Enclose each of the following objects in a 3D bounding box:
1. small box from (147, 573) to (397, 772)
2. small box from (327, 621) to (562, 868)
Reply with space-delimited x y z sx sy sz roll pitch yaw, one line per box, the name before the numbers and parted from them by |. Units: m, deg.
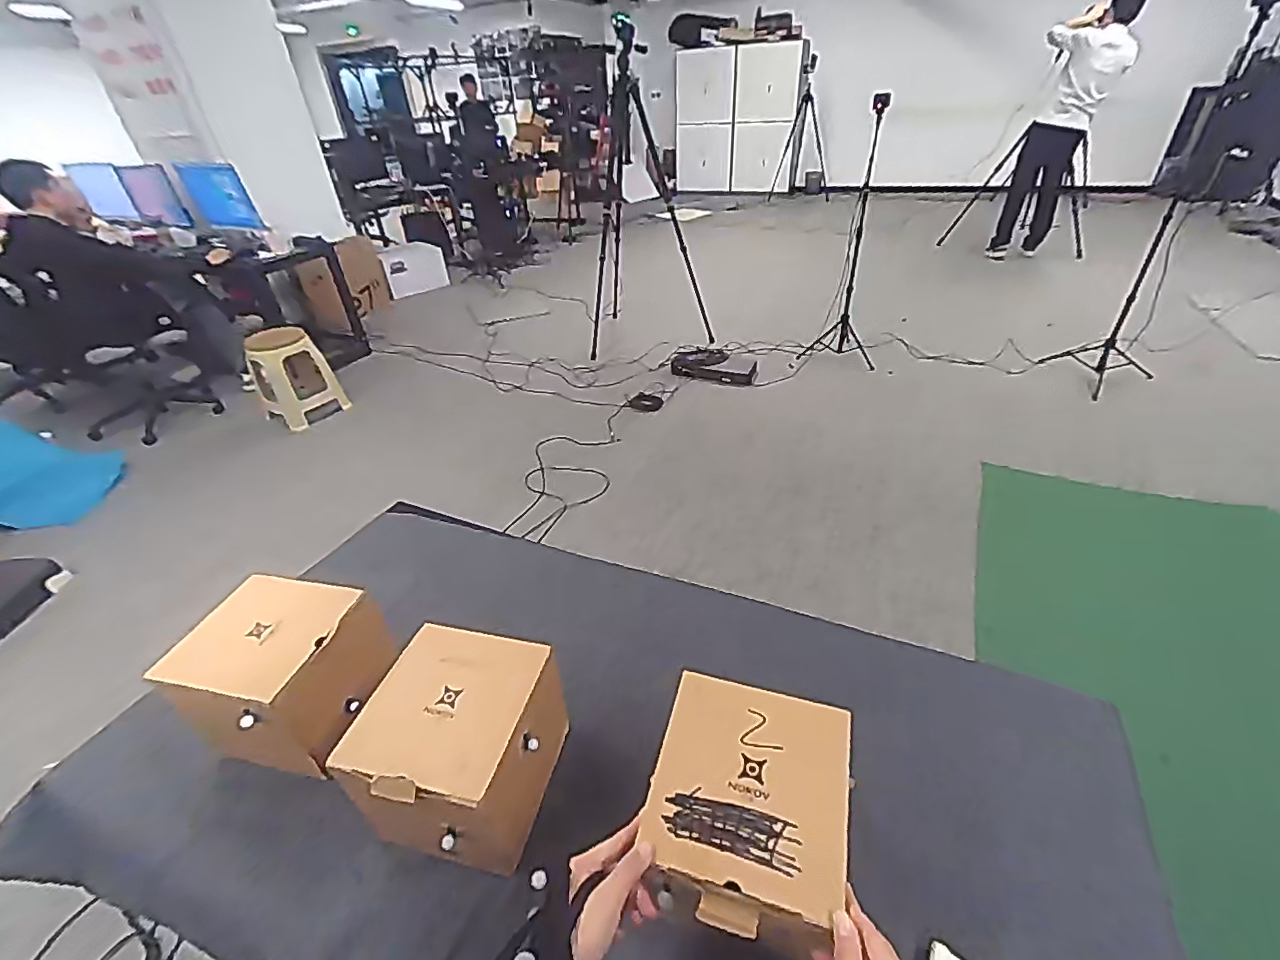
small box | -0.448 0.244 0.693 0.179 0.176 0.168 5 36 11
small box | -0.195 0.291 0.604 0.168 0.176 0.179 7 35 12
